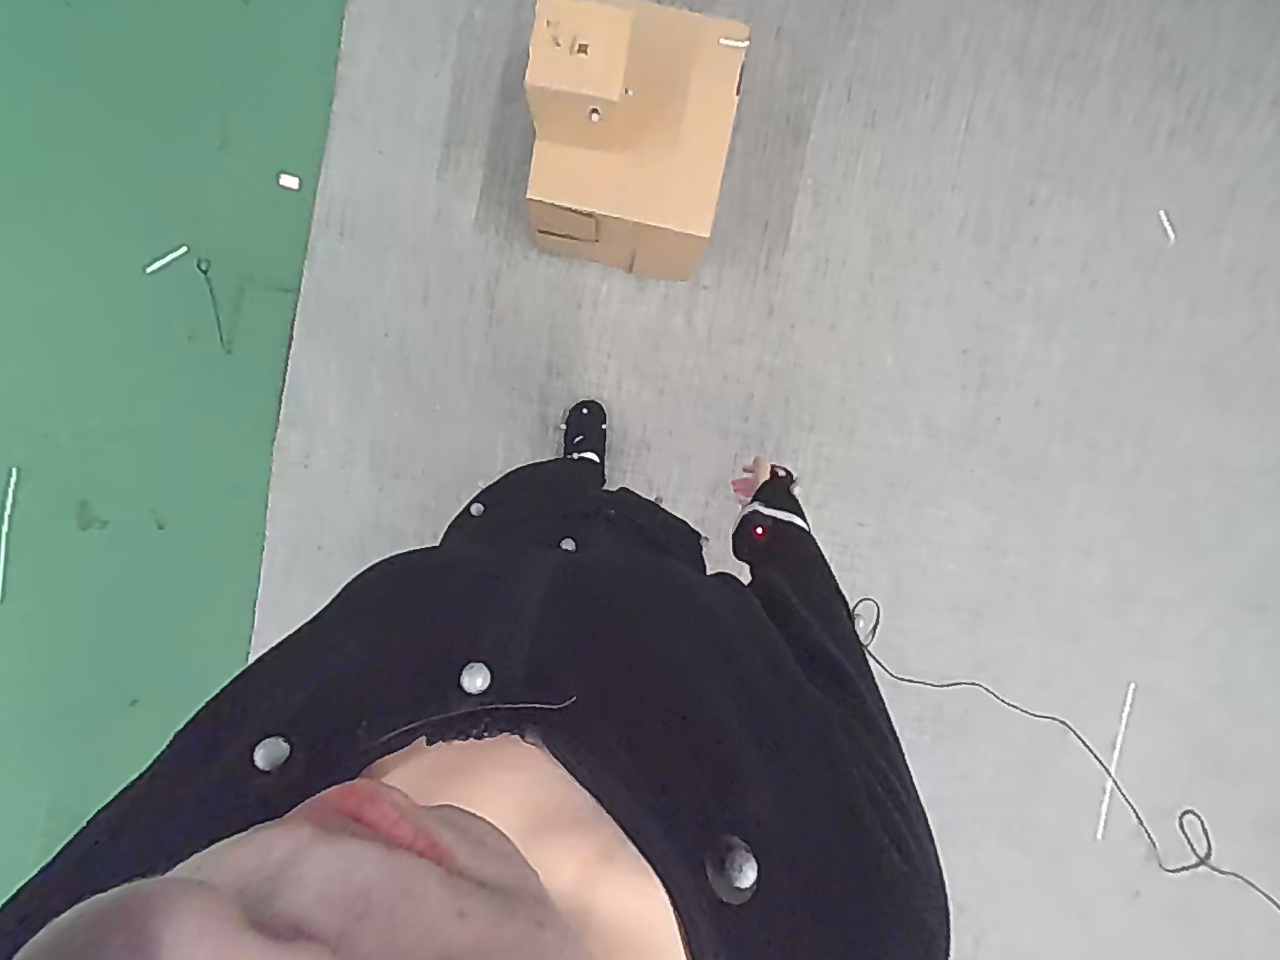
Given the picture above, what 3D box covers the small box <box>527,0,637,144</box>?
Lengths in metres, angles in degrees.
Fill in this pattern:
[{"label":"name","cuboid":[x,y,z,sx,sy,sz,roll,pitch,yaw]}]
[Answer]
[{"label":"small box","cuboid":[-0.106,-0.786,1.042,0.179,0.176,0.168,9,92,-2]}]
